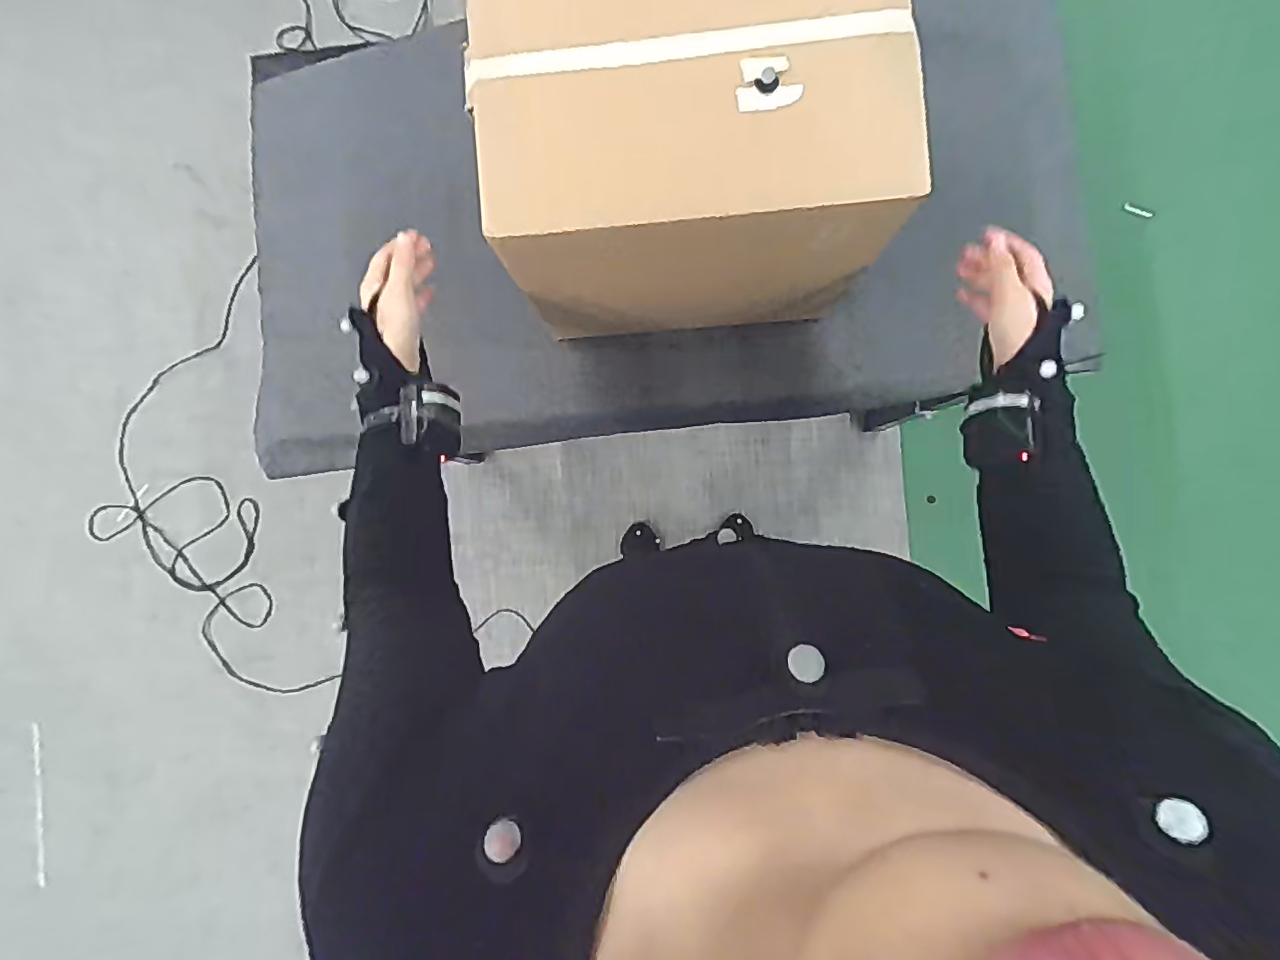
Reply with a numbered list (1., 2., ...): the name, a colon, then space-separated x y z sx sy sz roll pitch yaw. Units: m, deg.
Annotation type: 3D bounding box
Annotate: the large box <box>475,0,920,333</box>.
1. large box: 0.050 -0.392 0.655 0.408 0.320 0.320 -5 88 2
